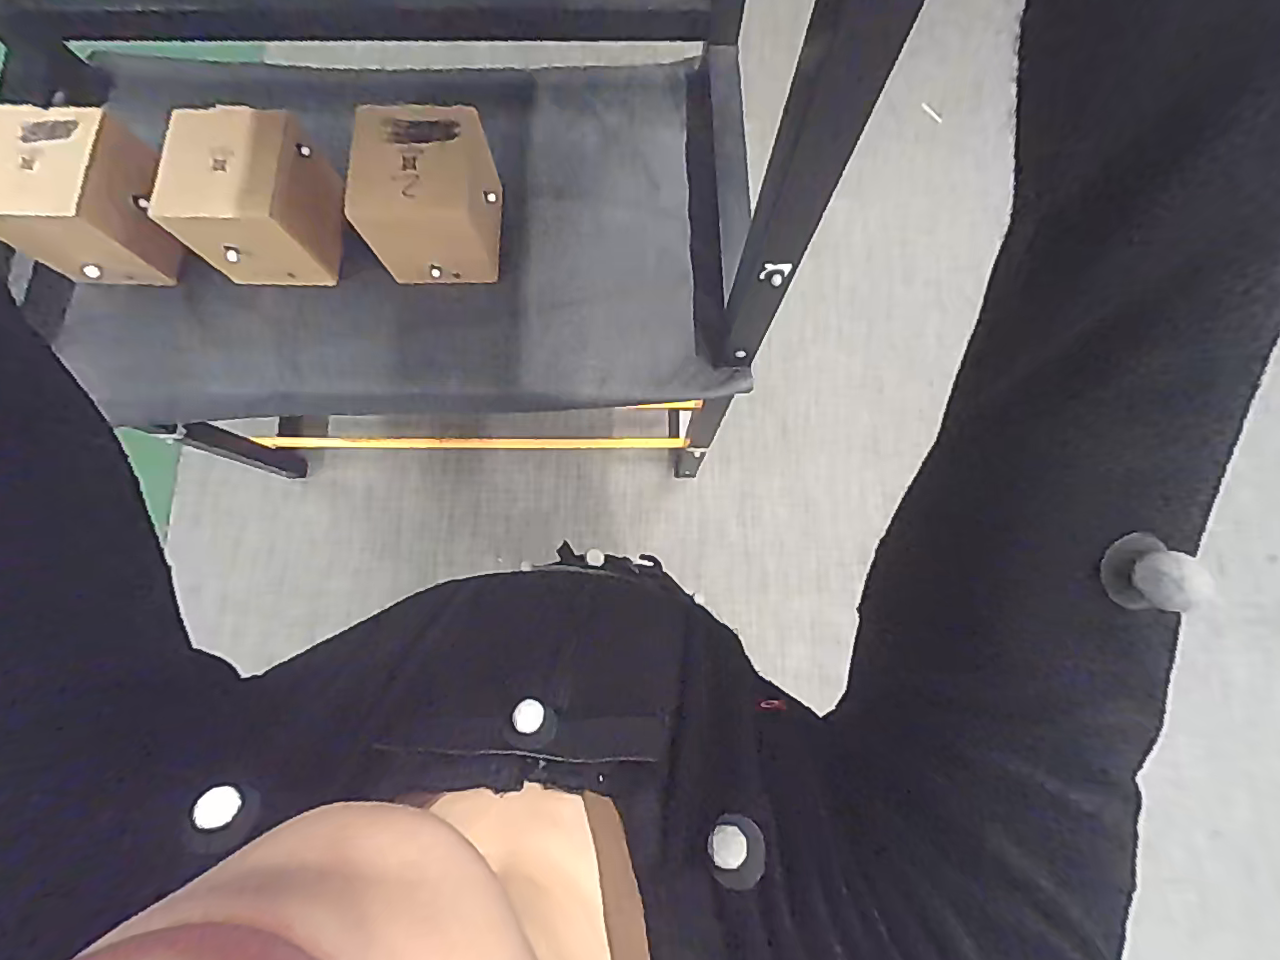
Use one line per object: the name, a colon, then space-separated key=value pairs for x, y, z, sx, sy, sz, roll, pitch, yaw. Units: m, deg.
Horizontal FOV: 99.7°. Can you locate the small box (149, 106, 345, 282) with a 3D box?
small box: x=-0.573 y=-0.418 z=0.814 sx=0.168 sy=0.176 sz=0.179 roll=1 pitch=78 yaw=-1

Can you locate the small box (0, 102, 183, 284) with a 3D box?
small box: x=-0.825 y=-0.420 z=0.809 sx=0.168 sy=0.176 sz=0.179 roll=1 pitch=79 yaw=0
